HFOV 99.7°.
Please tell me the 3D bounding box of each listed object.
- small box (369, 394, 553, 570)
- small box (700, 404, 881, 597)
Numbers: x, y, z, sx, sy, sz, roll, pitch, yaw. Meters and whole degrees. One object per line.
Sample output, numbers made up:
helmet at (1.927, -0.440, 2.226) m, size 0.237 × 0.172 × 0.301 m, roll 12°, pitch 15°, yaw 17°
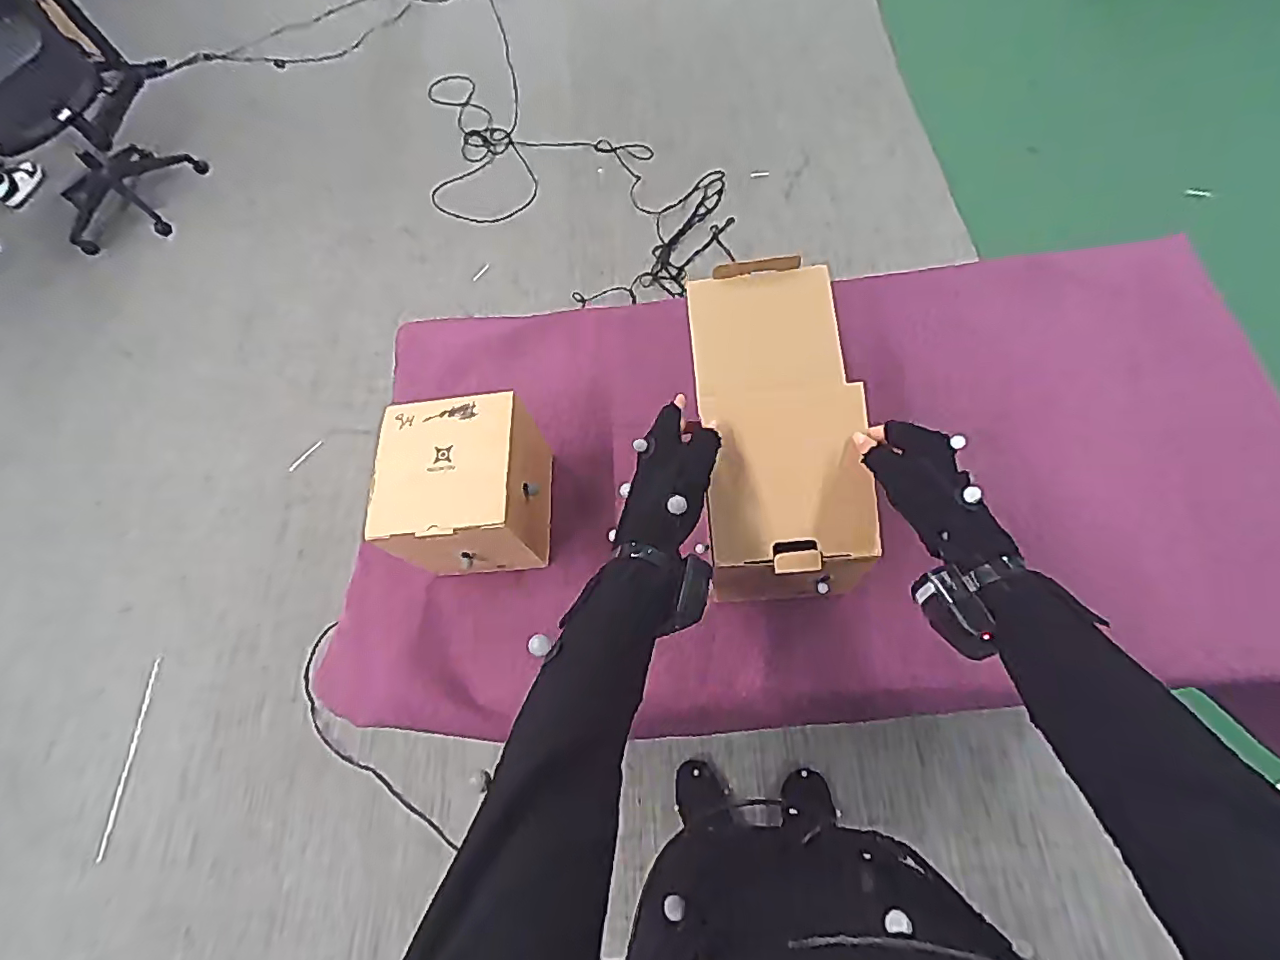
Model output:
small box at (-0.214, 0.014, 0.698) m, size 0.168 × 0.176 × 0.179 m, roll -6°, pitch 65°, yaw 6°
small box at (0.161, 0.035, 0.631) m, size 0.168 × 0.176 × 0.179 m, roll -5°, pitch 64°, yaw 6°
